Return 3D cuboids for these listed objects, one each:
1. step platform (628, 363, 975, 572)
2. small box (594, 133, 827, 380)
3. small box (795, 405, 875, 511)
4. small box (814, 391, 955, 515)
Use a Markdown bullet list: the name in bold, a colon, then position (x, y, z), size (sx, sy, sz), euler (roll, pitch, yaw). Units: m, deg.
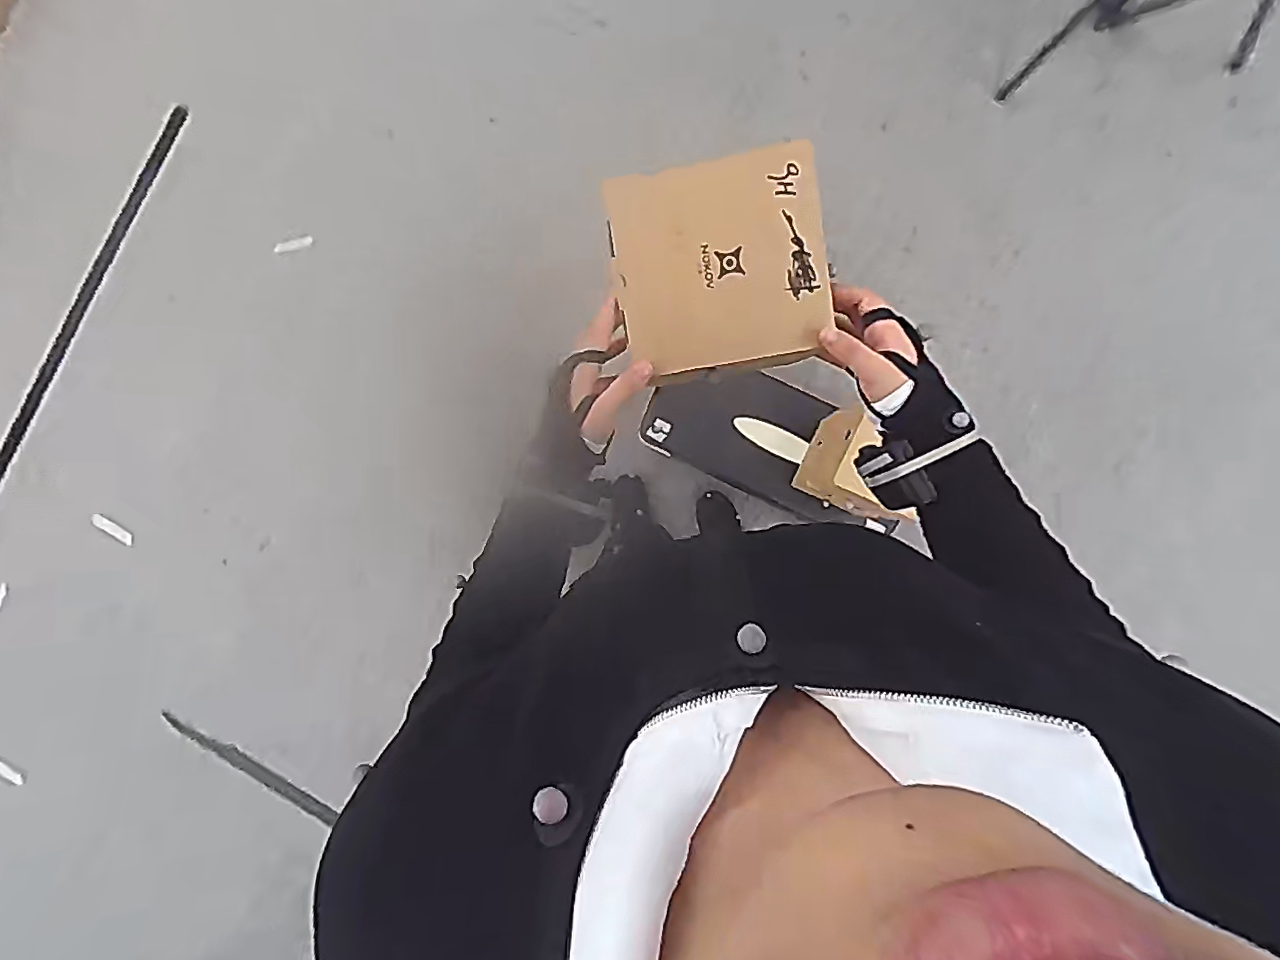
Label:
- **step platform**: position (0.324, -0.073, 1.183), size (0.684, 0.204, 0.286), euler (27, 91, 4)
- **small box**: position (0.066, -0.196, 0.531), size (0.179, 0.176, 0.168), euler (-10, 96, 6)
- **small box**: position (0.460, -0.046, 1.207), size (0.168, 0.176, 0.179), euler (26, 92, 5)
- **small box**: position (0.456, -0.048, 1.043), size (0.168, 0.176, 0.179), euler (26, 92, 5)
